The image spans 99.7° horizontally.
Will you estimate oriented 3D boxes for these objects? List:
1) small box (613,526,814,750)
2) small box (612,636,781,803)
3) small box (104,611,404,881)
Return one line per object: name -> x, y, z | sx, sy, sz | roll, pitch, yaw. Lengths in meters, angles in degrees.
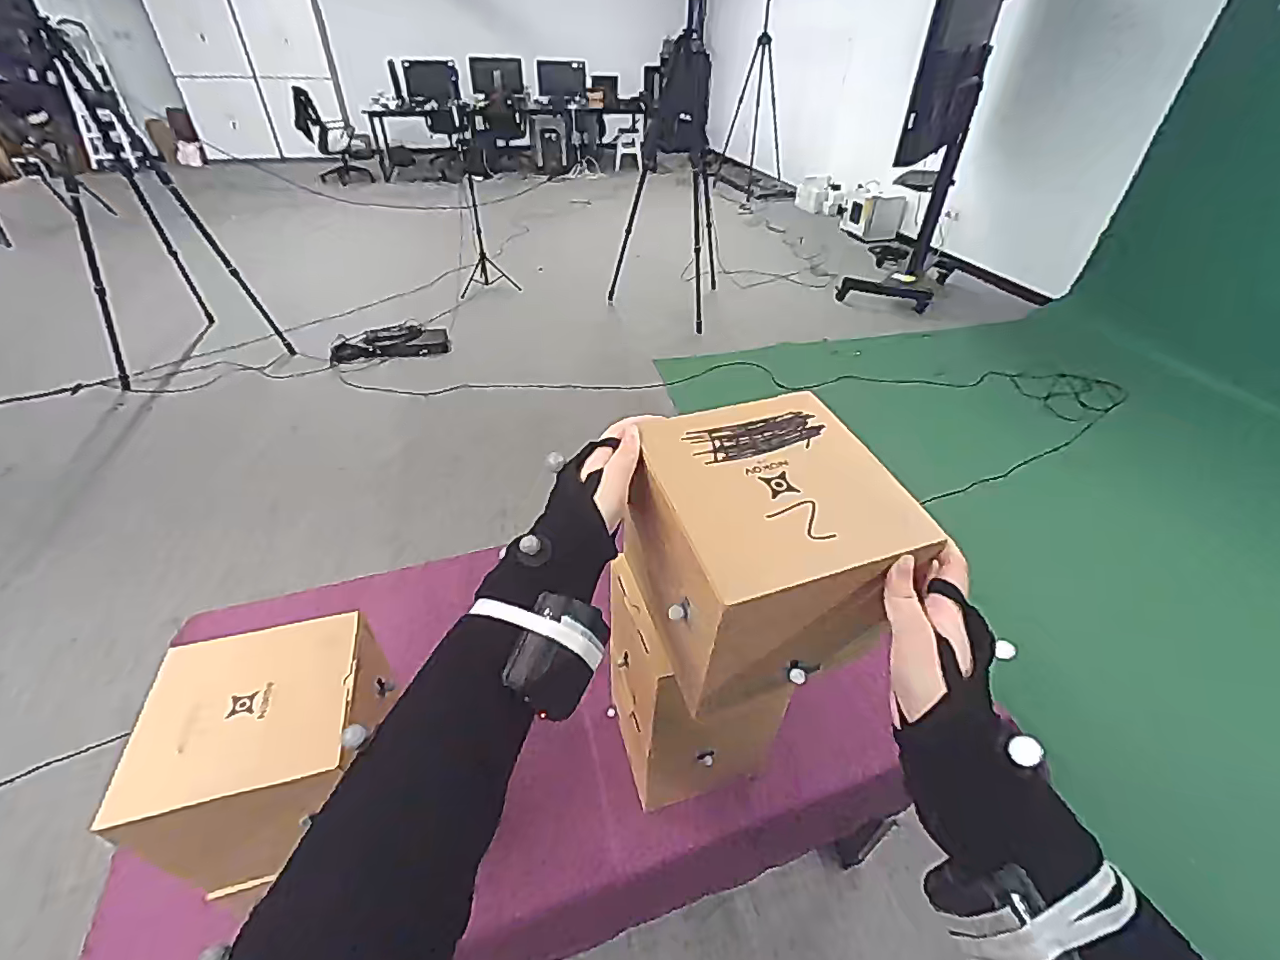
small box -> 0.072, 0.184, 0.639 | 0.179, 0.176, 0.168 | -12, 42, -13
small box -> 0.067, 0.310, 0.743 | 0.179, 0.176, 0.168 | -11, 41, -14
small box -> -0.348, 0.262, 0.539 | 0.179, 0.176, 0.168 | -10, 41, -12
